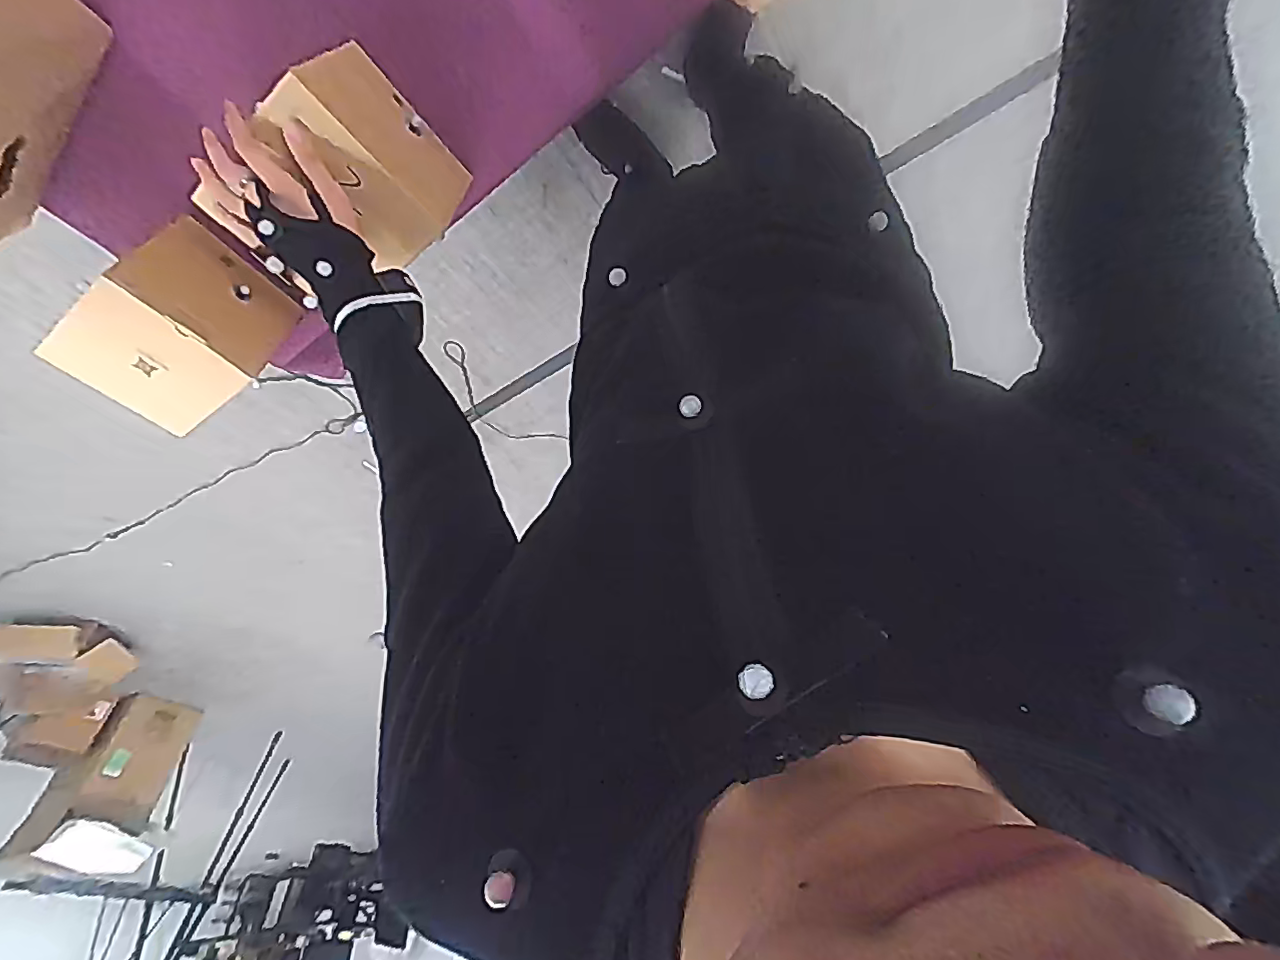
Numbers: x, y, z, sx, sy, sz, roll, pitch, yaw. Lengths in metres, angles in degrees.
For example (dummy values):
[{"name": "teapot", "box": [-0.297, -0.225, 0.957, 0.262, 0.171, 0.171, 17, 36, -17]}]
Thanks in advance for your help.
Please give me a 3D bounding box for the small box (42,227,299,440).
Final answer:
[{"name": "small box", "box": [-0.595, -0.190, 0.710, 0.179, 0.176, 0.168, -27, 131, 22]}]
